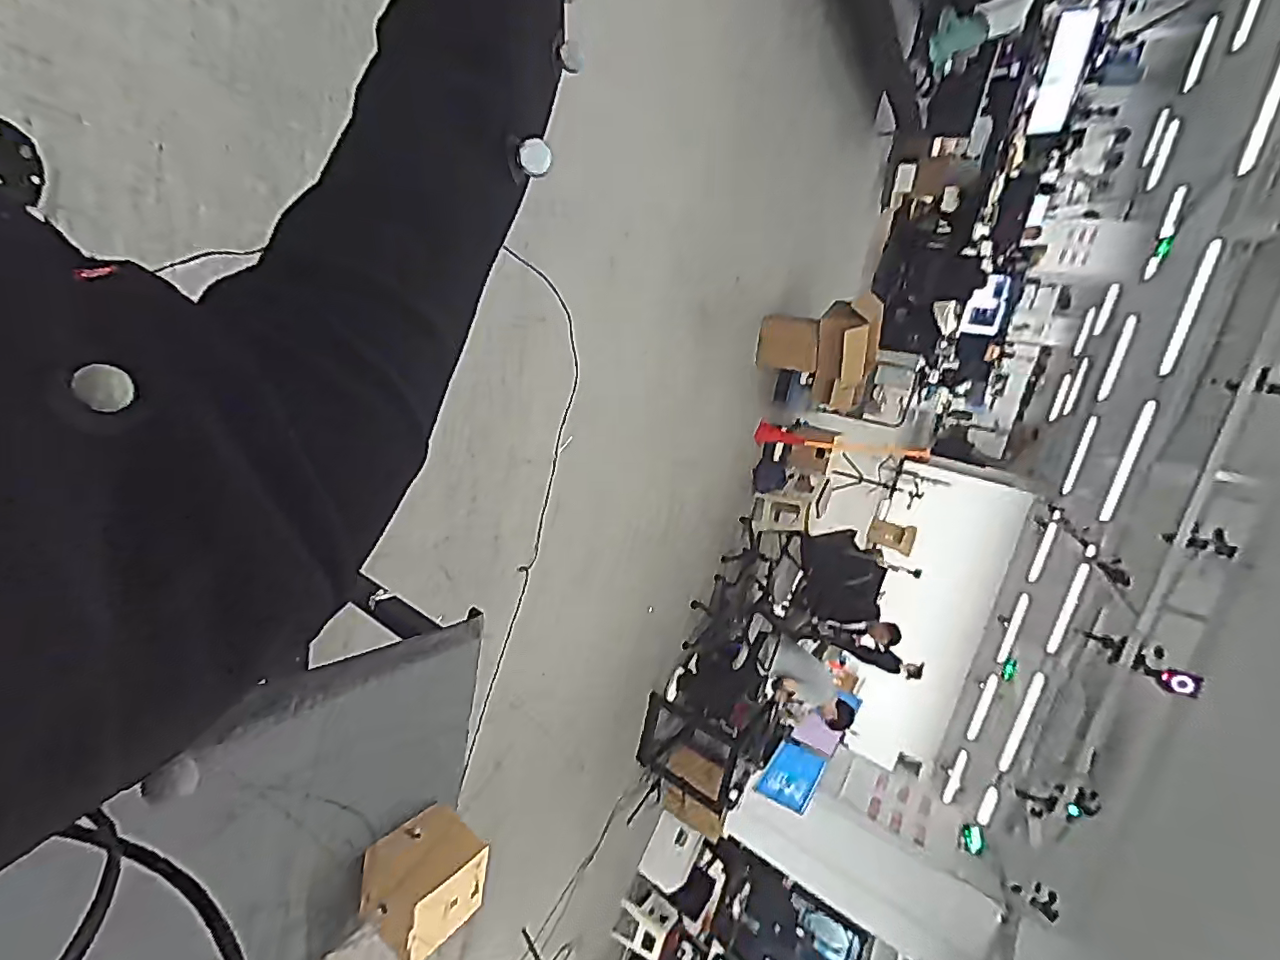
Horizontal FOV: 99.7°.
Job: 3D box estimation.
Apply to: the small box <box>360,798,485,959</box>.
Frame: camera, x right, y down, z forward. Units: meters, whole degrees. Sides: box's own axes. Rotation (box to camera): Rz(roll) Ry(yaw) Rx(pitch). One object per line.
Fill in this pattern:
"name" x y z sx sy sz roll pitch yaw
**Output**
"small box" -0.452 0.812 1.118 0.179 0.176 0.168 -9 113 -56
